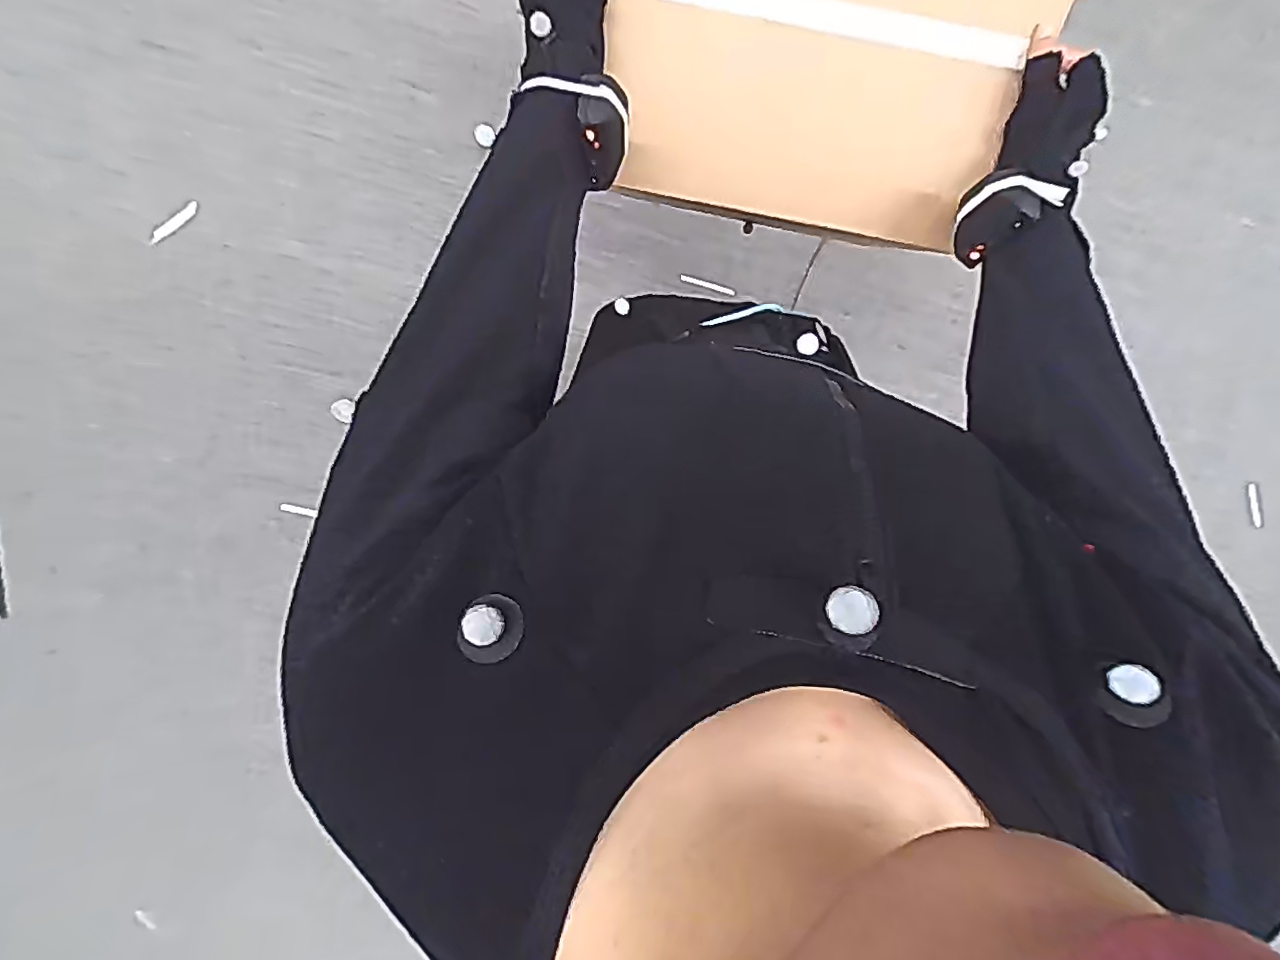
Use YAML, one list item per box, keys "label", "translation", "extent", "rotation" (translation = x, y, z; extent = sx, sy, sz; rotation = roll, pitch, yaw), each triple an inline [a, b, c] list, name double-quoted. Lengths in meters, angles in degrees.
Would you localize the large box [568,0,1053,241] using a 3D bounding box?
- label: "large box"
  translation: [0.160, -0.472, 0.606]
  extent: [0.408, 0.320, 0.320]
  rotation: [12, 115, -1]
